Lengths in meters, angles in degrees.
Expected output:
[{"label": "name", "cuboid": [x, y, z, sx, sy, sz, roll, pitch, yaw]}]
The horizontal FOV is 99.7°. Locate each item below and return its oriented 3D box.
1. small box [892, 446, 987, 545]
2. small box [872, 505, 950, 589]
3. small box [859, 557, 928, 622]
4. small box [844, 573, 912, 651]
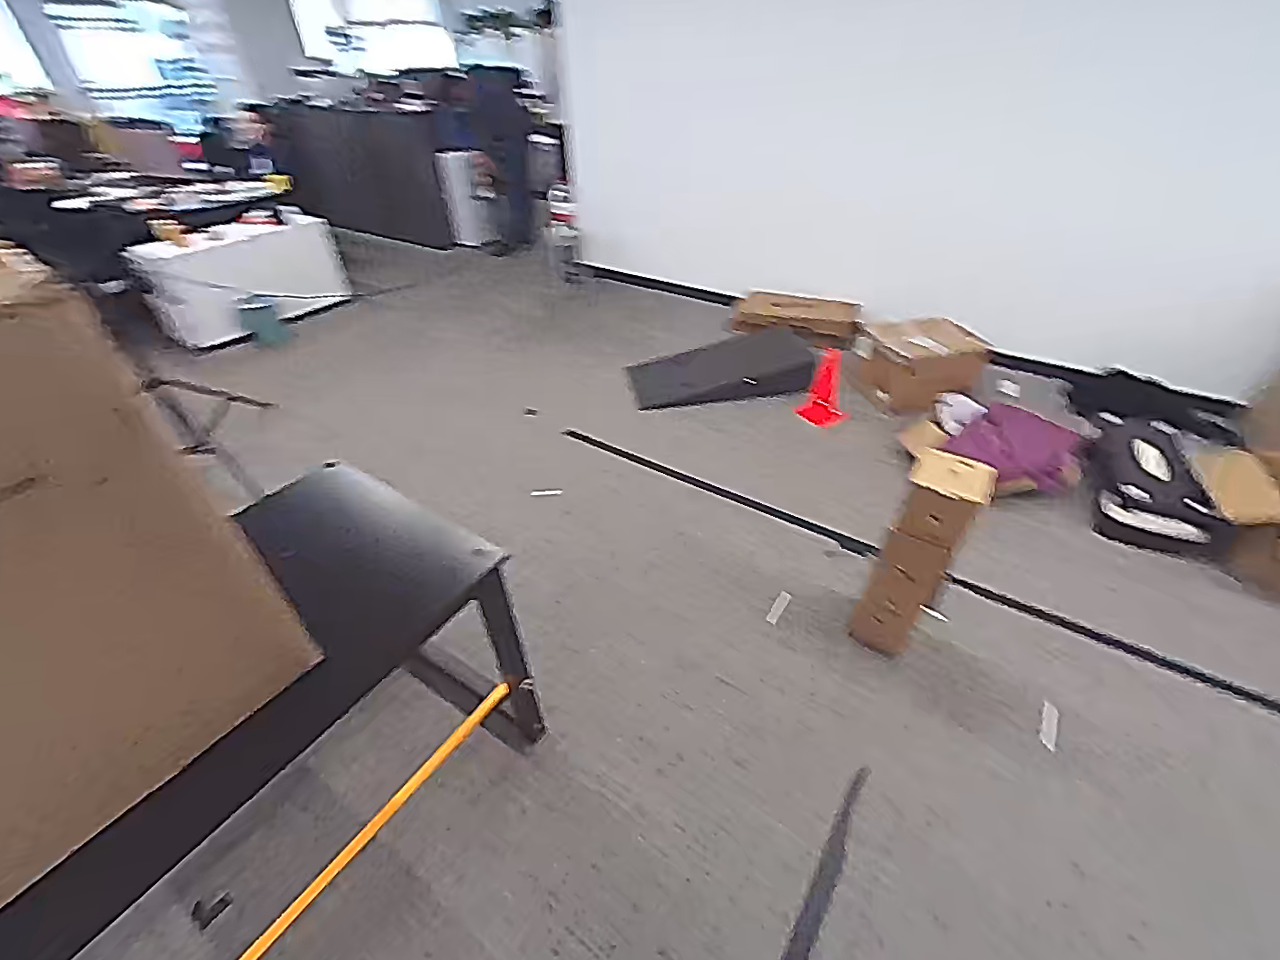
[{"label": "small box", "cuboid": [0.783, 0.042, 1.425, 0.168, 0.176, 0.179, 22, 45, 26]}, {"label": "small box", "cuboid": [0.776, 0.171, 1.526, 0.168, 0.176, 0.179, 24, 47, 29]}, {"label": "small box", "cuboid": [0.787, 0.290, 1.638, 0.168, 0.176, 0.179, 25, 47, 29]}, {"label": "small box", "cuboid": [0.781, 0.417, 1.743, 0.179, 0.176, 0.168, 26, 47, 28]}]
